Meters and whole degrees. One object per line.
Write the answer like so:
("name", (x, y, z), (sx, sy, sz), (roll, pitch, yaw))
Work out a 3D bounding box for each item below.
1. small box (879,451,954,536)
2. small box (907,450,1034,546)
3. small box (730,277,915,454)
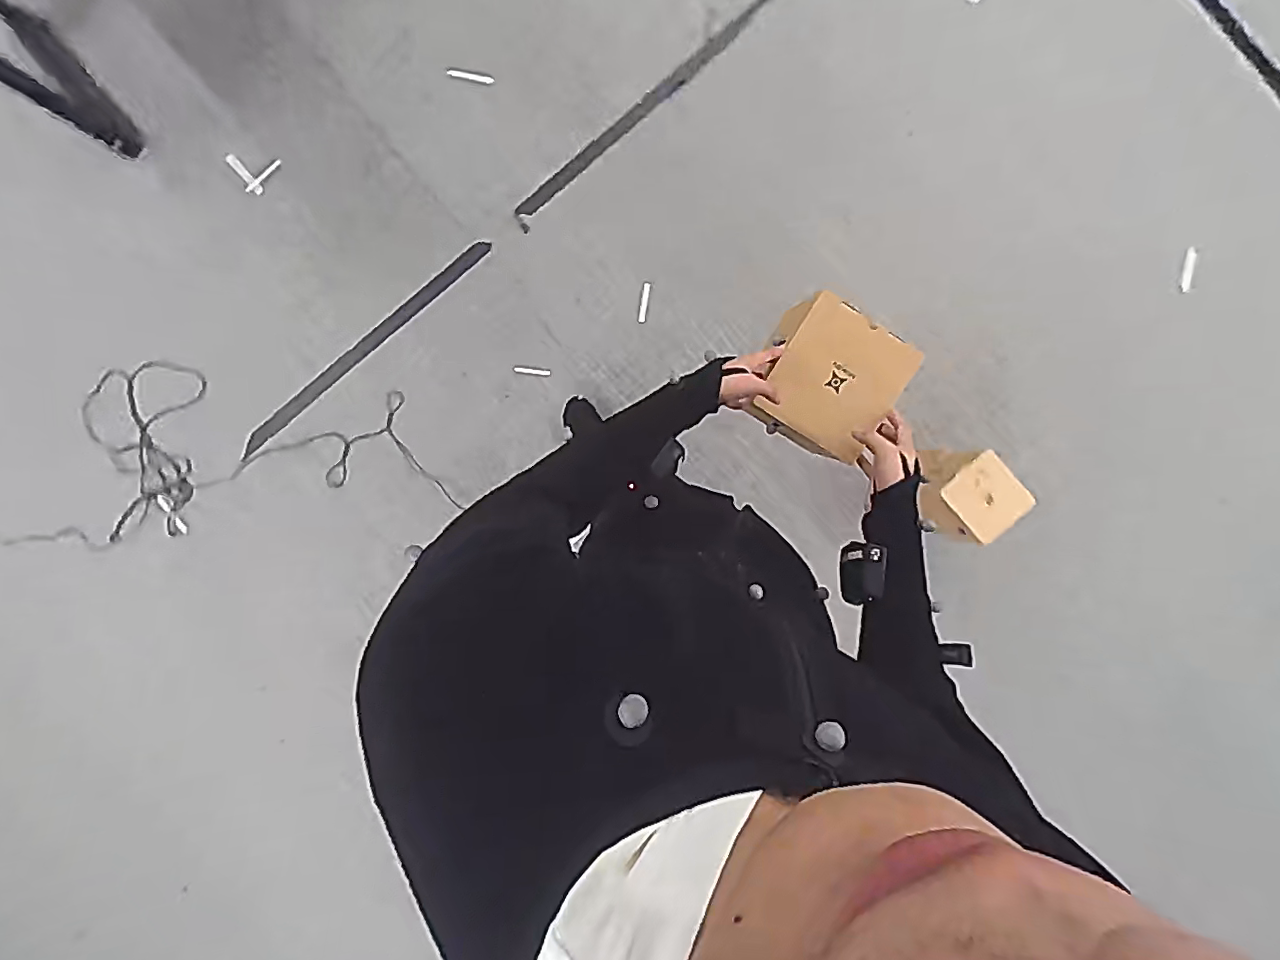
("small box", (0.822, 0.034, 1.529), (0.168, 0.176, 0.179), (-40, 90, 0))
("small box", (0.825, 0.042, 1.365), (0.168, 0.176, 0.179), (-40, 89, 0))
("small box", (0.245, -0.155, 0.782), (0.168, 0.176, 0.179), (31, 95, -4))
